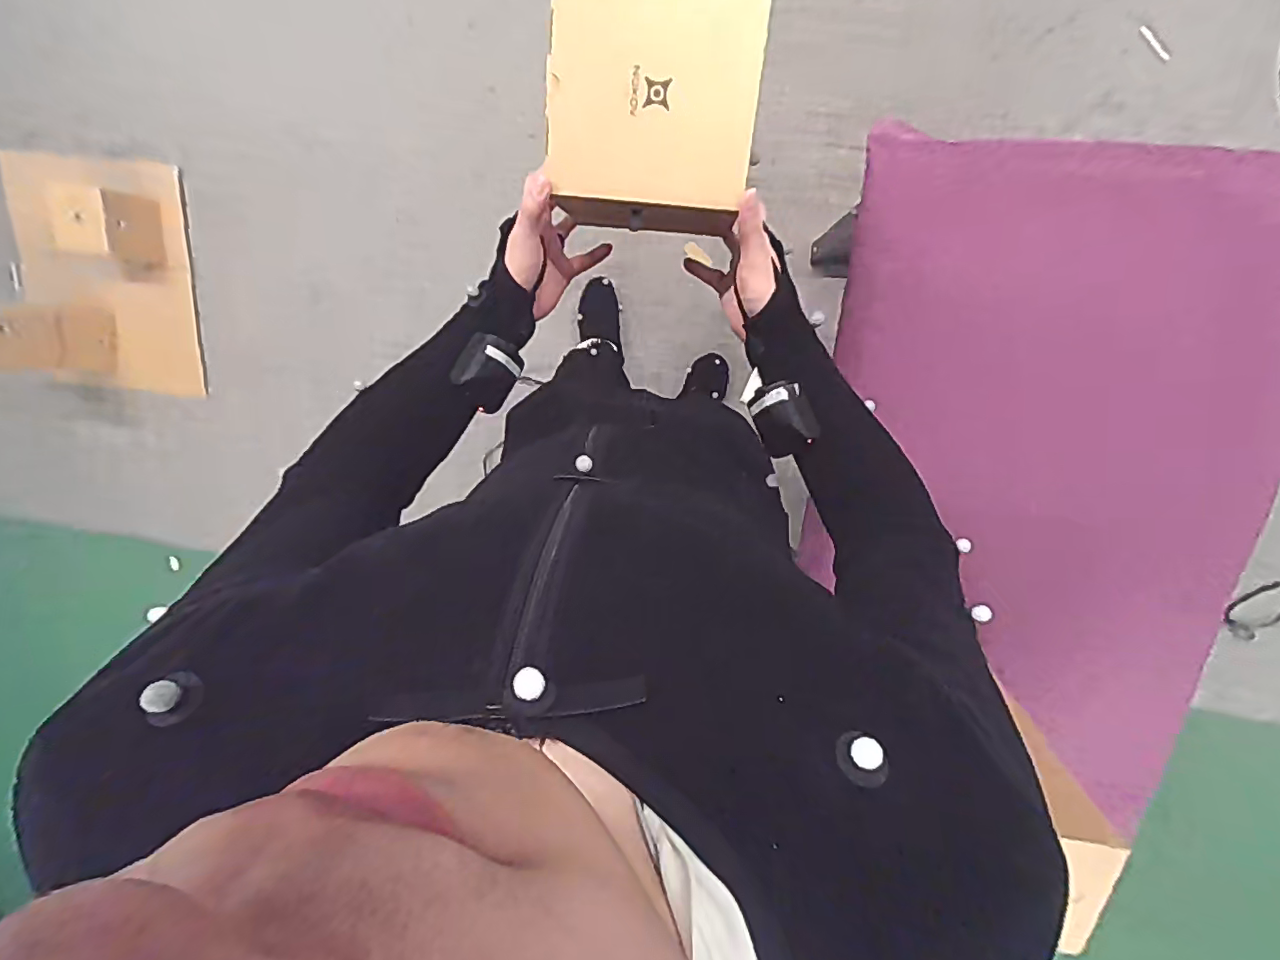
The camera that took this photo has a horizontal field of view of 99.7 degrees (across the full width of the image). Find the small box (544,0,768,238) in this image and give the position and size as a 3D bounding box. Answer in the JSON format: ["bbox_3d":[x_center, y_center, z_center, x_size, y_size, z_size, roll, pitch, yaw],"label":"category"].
[{"bbox_3d":[0.014,-0.335,0.521,0.179,0.176,0.168,5,108,4],"label":"small box"}]

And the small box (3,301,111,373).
[{"bbox_3d":[-1.788,-0.440,1.666,0.168,0.176,0.179,16,107,3],"label":"small box"}]

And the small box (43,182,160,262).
[{"bbox_3d":[-1.533,-0.733,1.554,0.168,0.176,0.179,9,107,5],"label":"small box"}]
